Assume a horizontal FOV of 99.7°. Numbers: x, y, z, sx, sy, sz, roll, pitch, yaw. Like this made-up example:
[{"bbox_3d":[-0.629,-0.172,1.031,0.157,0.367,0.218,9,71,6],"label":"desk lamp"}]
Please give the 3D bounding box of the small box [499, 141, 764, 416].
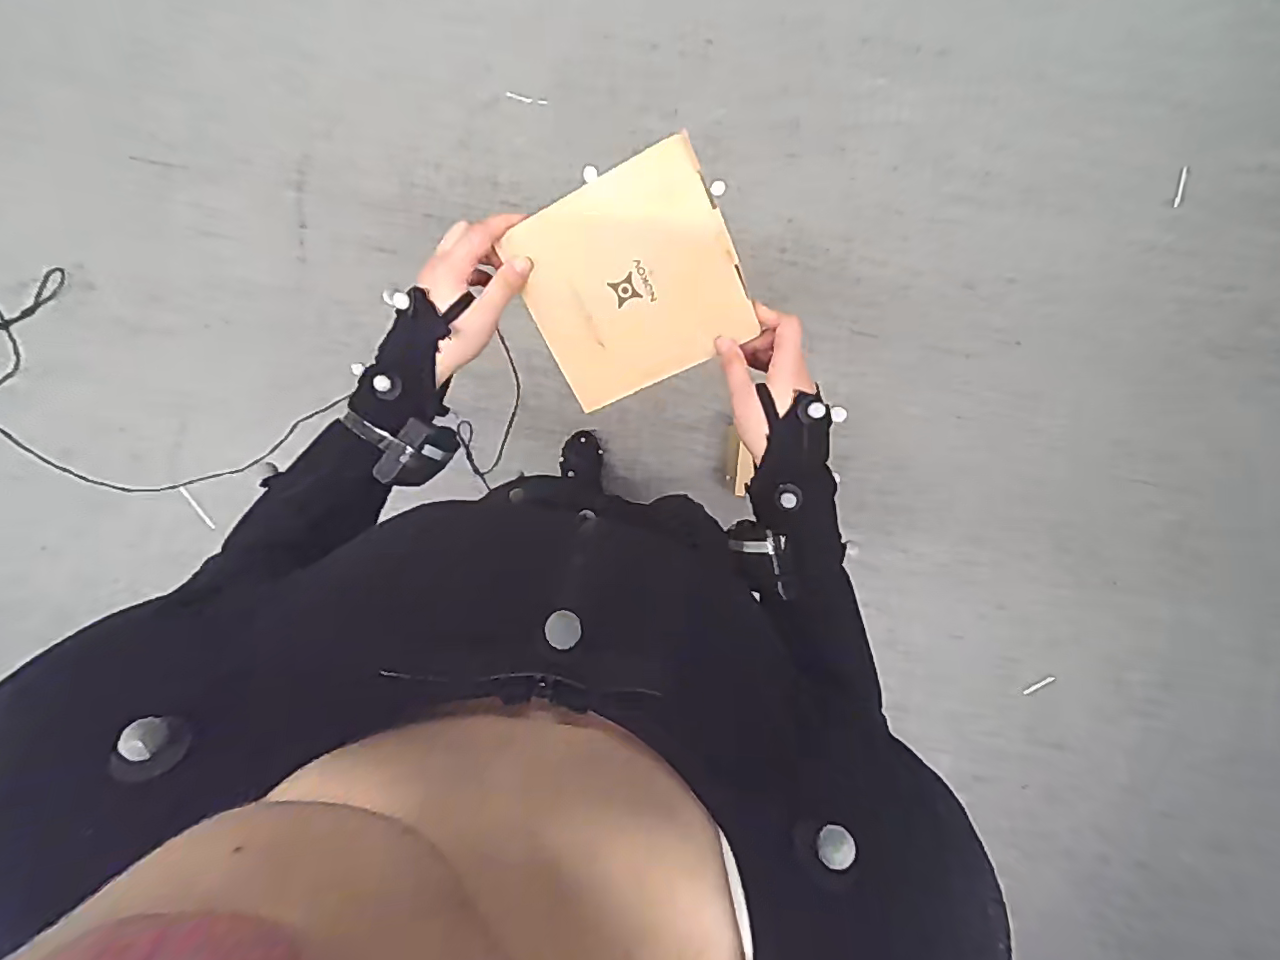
[{"bbox_3d":[0.001,-0.190,0.519,0.179,0.176,0.168,-22,111,16],"label":"small box"}]
